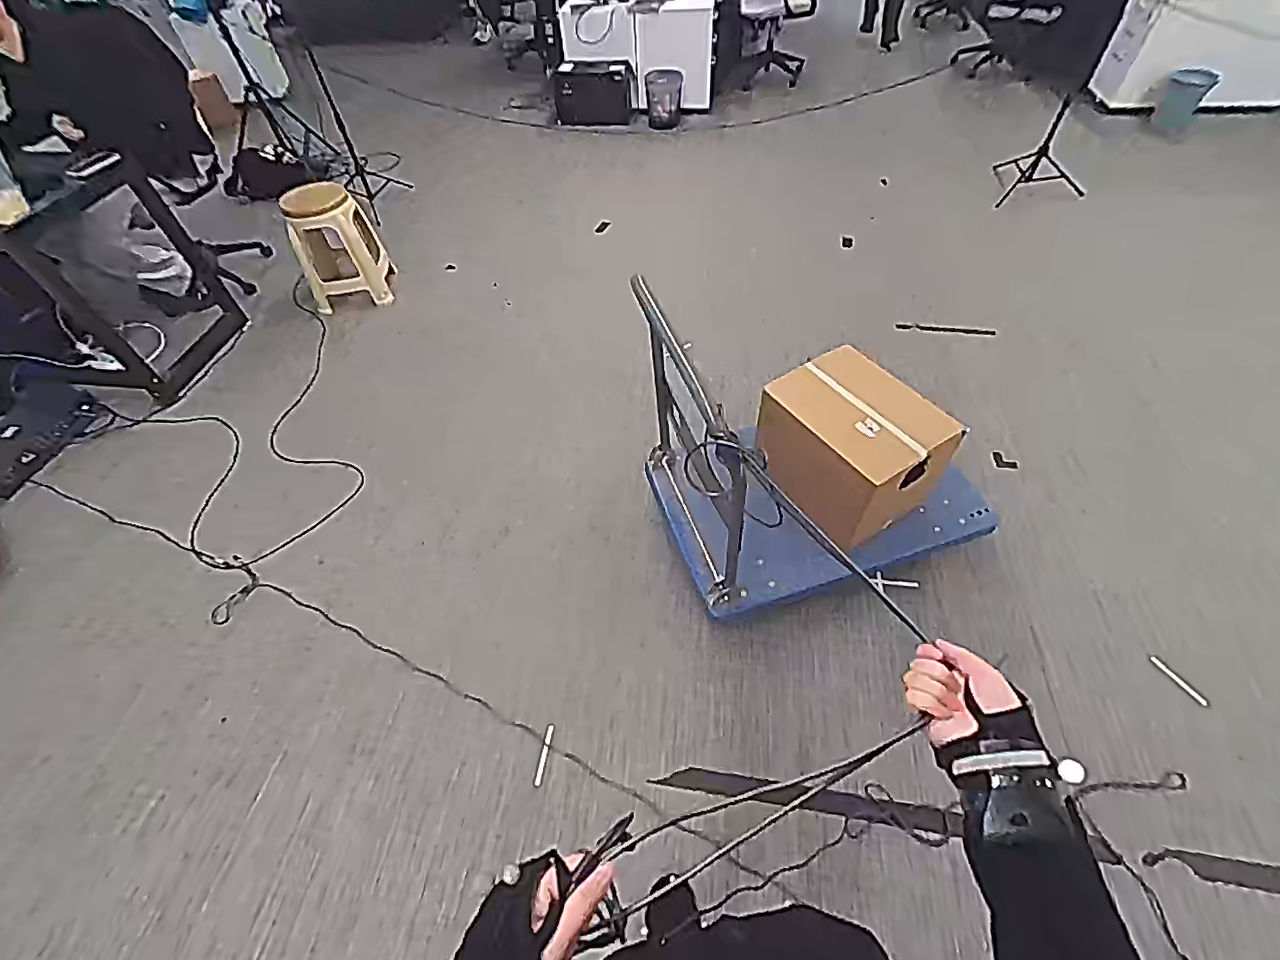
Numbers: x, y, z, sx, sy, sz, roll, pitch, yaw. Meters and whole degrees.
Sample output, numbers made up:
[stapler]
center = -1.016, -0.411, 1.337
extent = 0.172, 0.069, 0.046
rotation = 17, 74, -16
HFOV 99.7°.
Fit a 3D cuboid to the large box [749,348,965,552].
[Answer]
[large box]
center = 0.558, -0.087, 1.482
extent = 0.320, 0.320, 0.408
rotation = -29, 57, -17
